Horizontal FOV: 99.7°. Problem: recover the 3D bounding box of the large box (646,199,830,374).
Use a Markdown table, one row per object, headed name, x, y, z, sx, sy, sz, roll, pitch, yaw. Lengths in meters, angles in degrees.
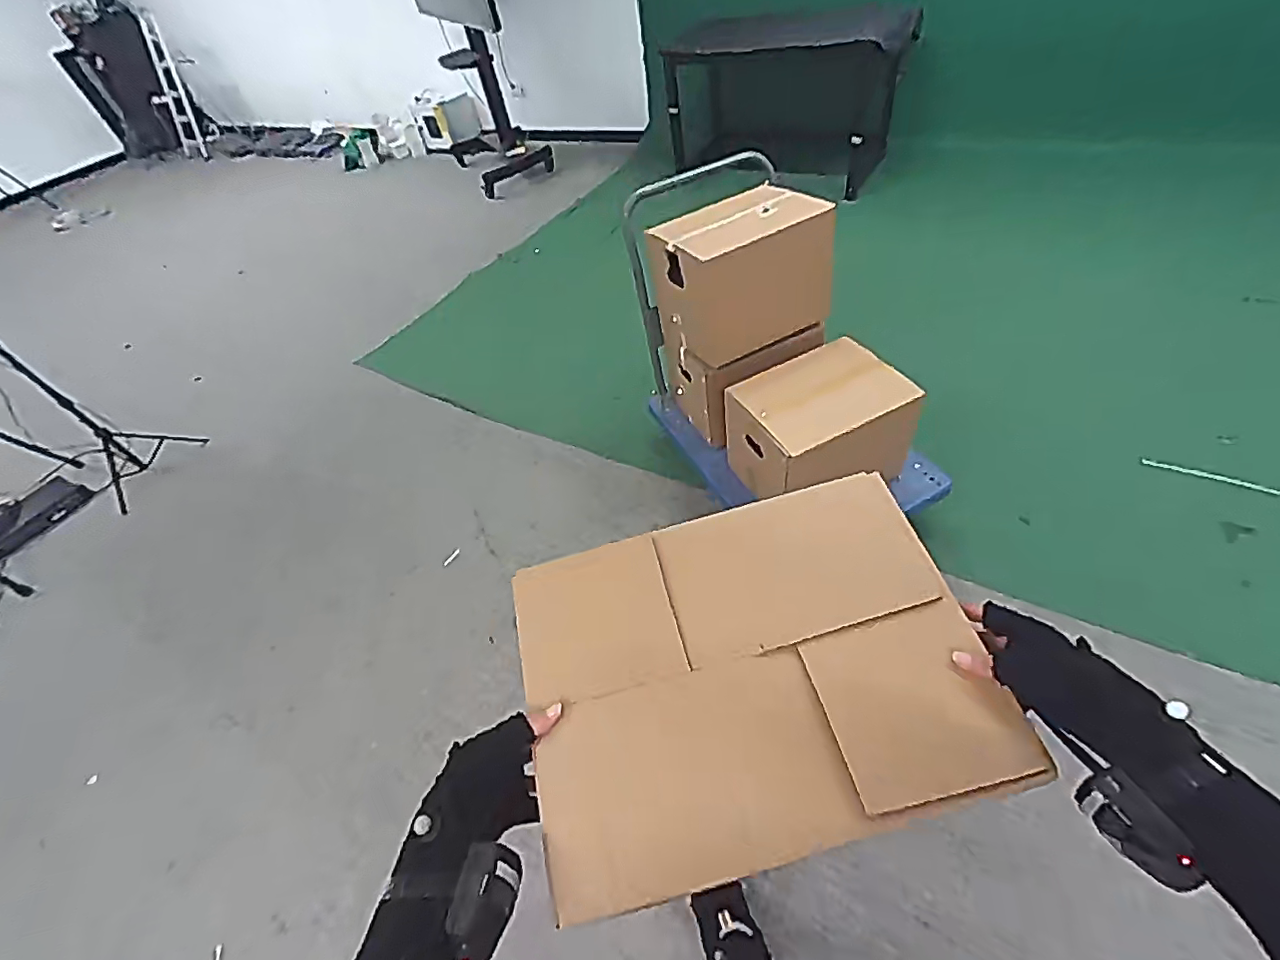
| name | x | y | z | sx | sy | sz | roll | pitch | yaw |
| --- | --- | --- | --- | --- | --- | --- | --- | --- | --- |
| large box | 0.280 | -0.558 | 1.546 | 0.408 | 0.320 | 0.320 | -26 | 43 | -13 |
